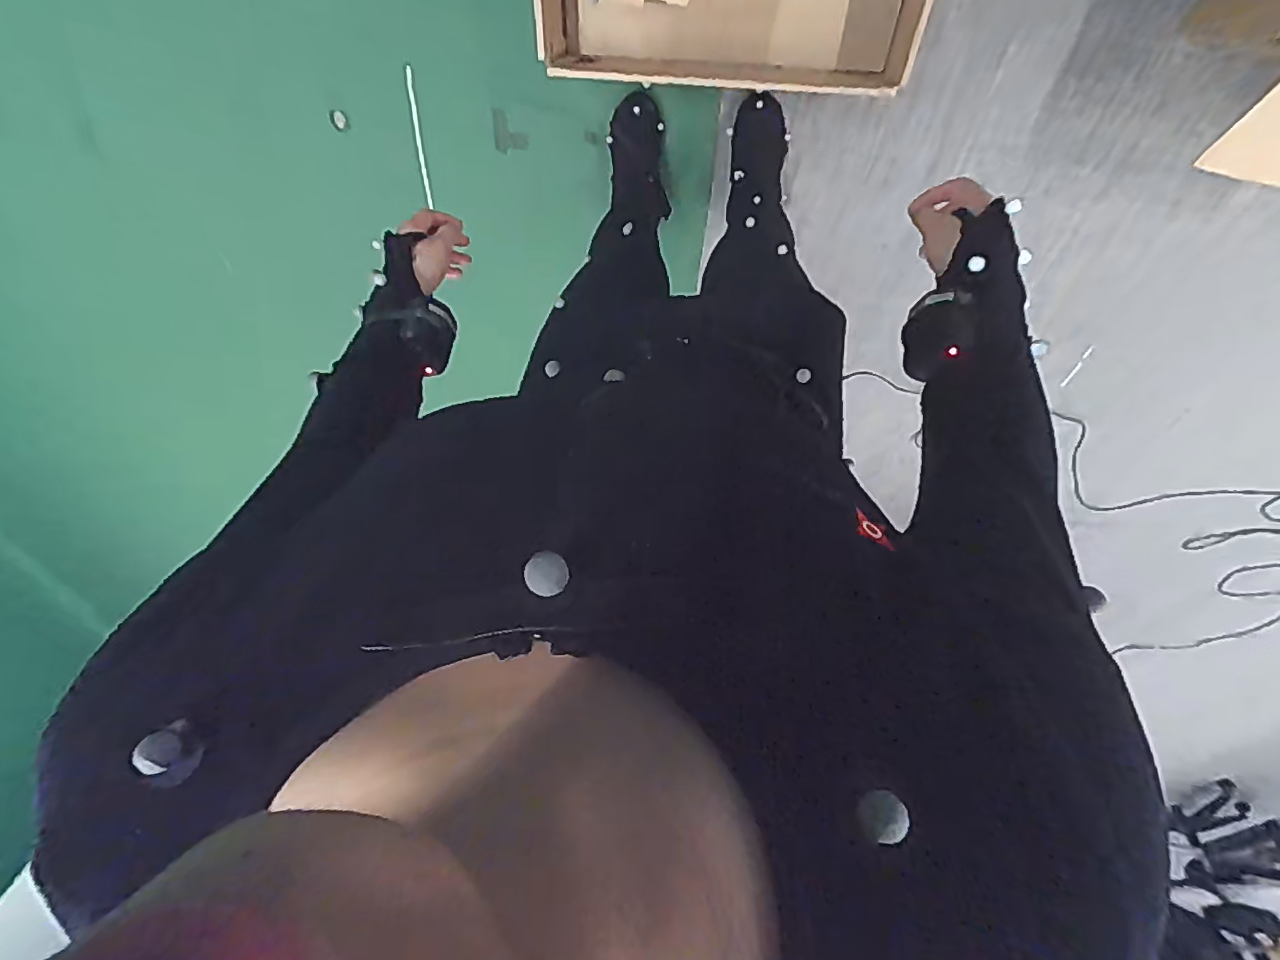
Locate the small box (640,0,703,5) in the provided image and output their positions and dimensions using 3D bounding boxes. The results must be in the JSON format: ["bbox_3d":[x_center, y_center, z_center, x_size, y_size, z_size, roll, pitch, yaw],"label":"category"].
[{"bbox_3d":[0.029,-0.854,0.839,0.179,0.176,0.168,7,132,2],"label":"small box"}]

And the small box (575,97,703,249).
[{"bbox_3d":[0.007,-0.616,1.100,0.179,0.168,0.176,-44,146,12],"label":"small box"}]
